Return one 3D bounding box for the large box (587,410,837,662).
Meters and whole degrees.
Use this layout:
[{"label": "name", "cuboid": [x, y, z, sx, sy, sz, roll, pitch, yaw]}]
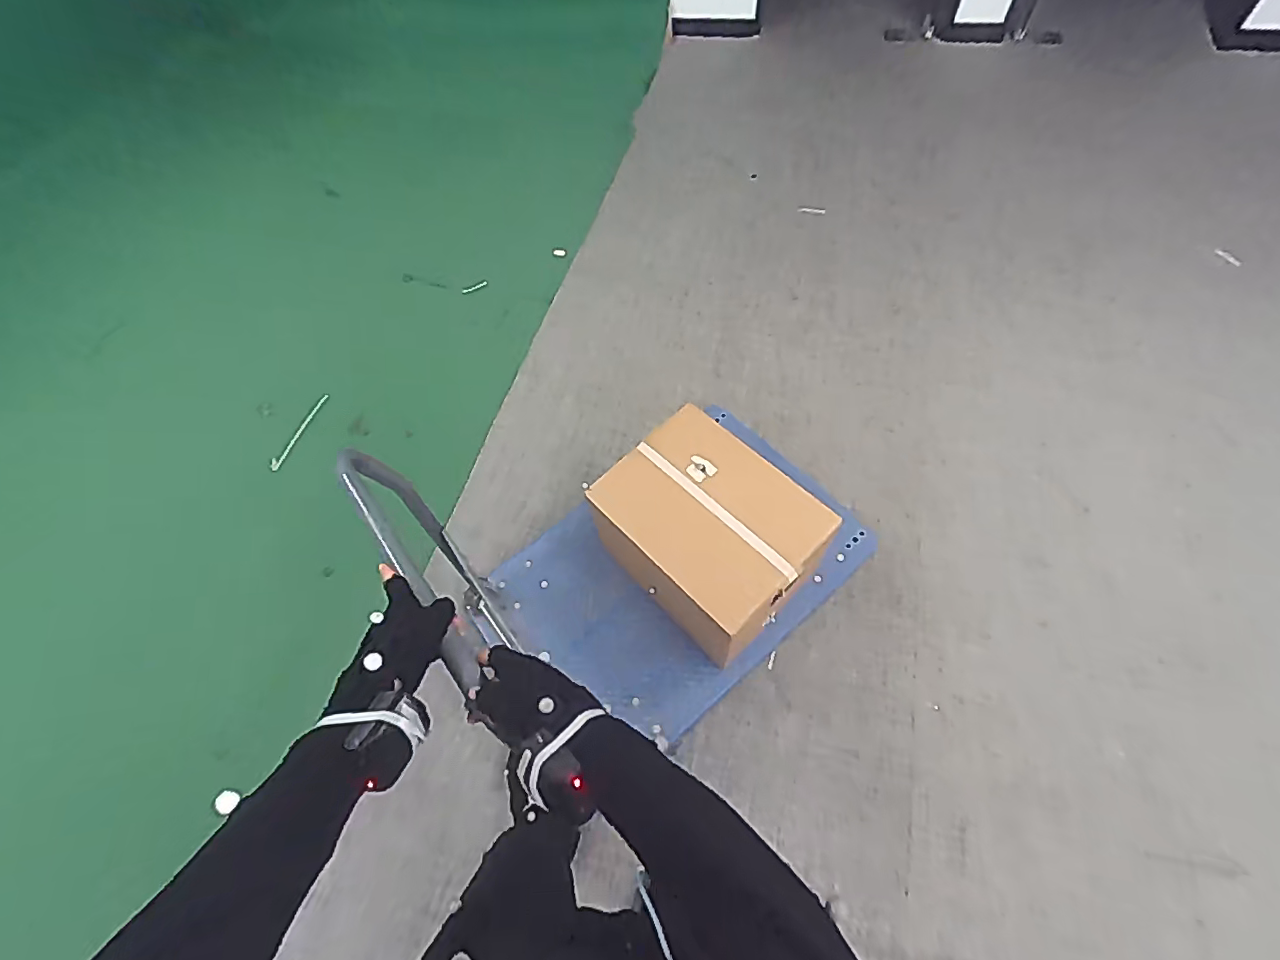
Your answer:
[{"label": "large box", "cuboid": [0.152, 0.128, 1.196, 0.320, 0.320, 0.408, -41, 64, -16]}]
